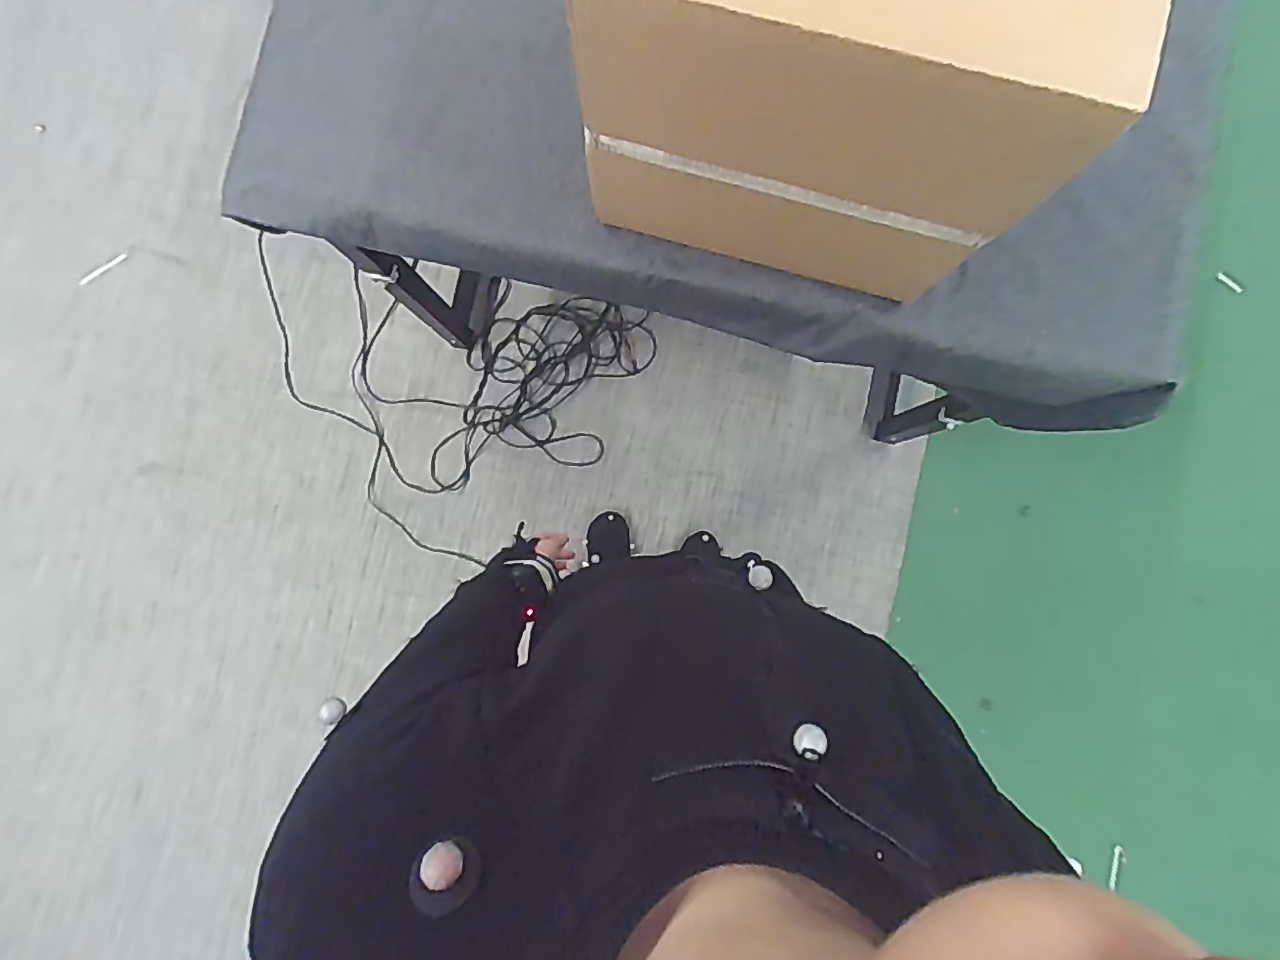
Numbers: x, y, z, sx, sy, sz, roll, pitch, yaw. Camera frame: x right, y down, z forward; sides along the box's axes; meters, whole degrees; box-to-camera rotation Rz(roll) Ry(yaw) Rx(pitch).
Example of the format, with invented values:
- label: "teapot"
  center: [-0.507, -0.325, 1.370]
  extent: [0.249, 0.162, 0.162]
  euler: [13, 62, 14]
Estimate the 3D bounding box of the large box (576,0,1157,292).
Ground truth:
- label: "large box"
  center: [0.182, -0.427, 0.527]
  extent: [0.408, 0.320, 0.320]
  euler: [14, 85, 1]
